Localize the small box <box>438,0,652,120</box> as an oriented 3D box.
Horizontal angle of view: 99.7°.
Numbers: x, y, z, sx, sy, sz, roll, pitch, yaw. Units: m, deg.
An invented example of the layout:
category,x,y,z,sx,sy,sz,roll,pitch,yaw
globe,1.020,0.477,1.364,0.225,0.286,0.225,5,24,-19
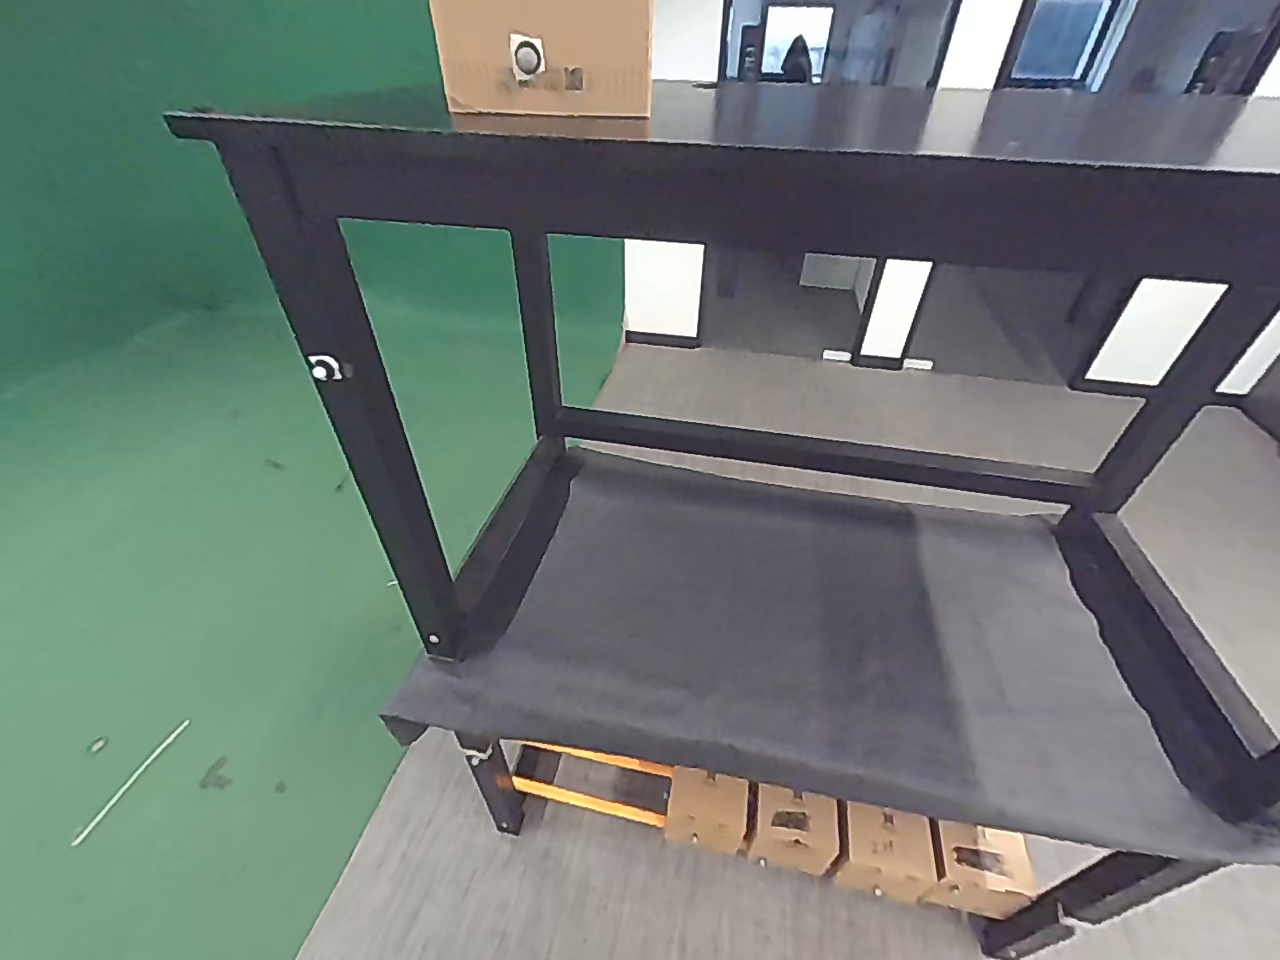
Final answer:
category,x,y,z,sx,sy,sz,roll,pitch,yaw
small box,-0.073,-0.419,0.459,0.168,0.176,0.179,0,40,0
